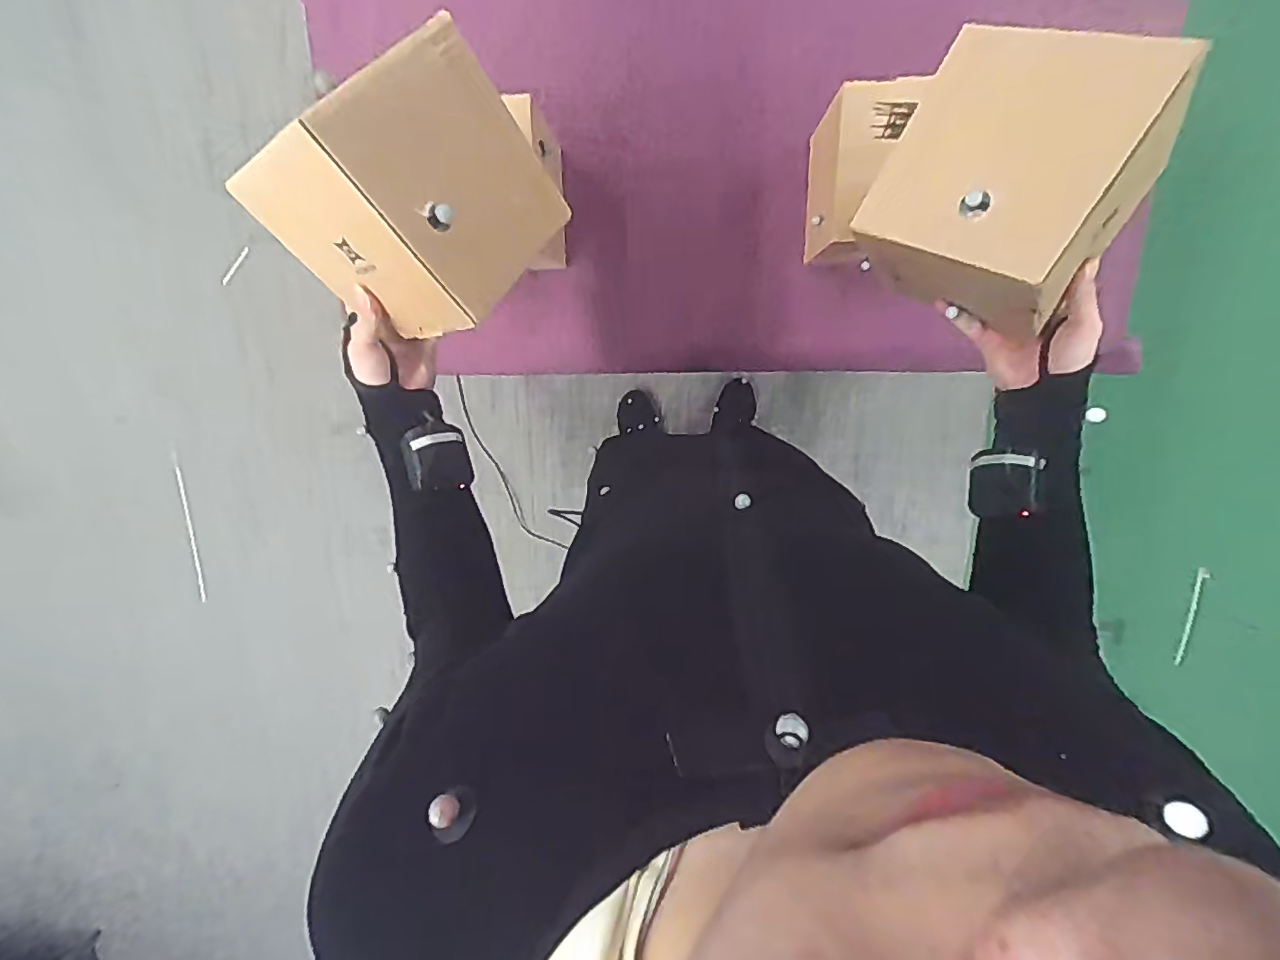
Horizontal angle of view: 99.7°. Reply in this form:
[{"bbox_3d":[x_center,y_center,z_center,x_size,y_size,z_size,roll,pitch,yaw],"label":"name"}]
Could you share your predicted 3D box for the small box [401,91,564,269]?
[{"bbox_3d":[-0.206,-0.403,0.755,0.168,0.176,0.179,0,102,6],"label":"small box"}]
